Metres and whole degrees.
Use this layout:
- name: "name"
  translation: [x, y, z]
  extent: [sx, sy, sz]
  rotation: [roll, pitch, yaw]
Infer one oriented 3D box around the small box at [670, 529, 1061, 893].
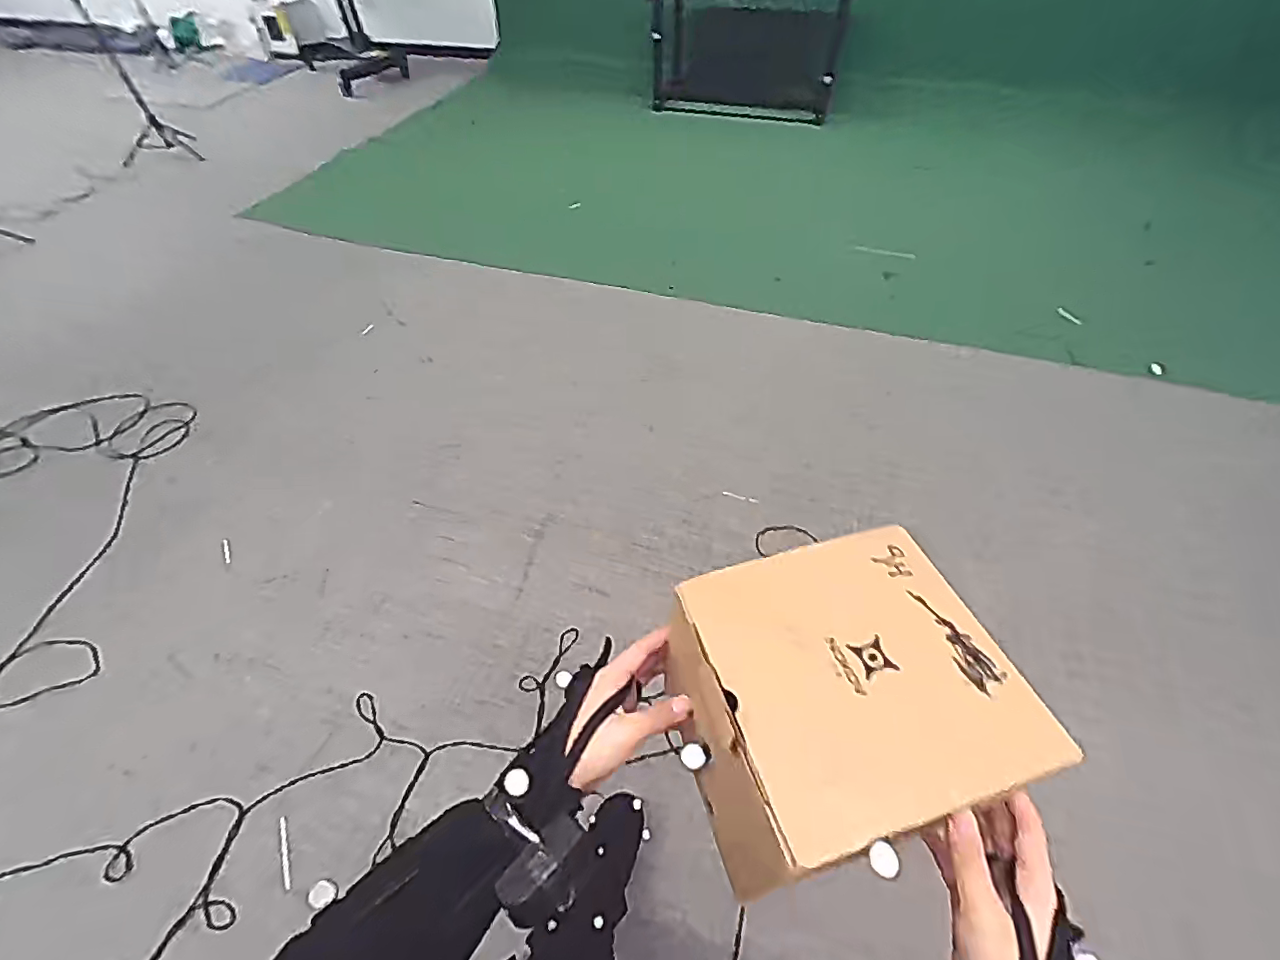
- name: "small box"
  translation: [0.127, 0.165, 0.387]
  extent: [0.179, 0.176, 0.168]
  rotation: [-12, 49, -12]
